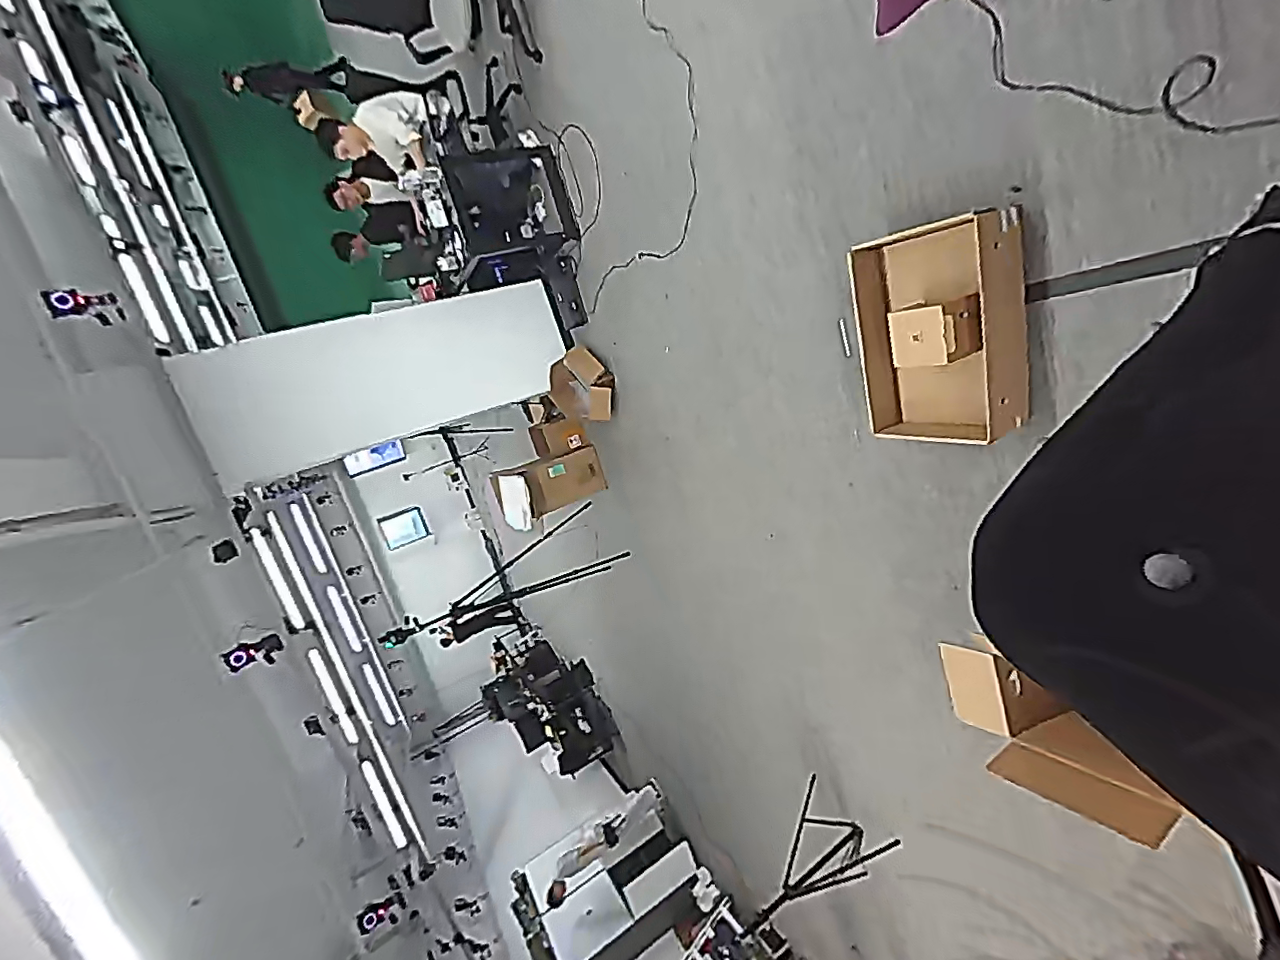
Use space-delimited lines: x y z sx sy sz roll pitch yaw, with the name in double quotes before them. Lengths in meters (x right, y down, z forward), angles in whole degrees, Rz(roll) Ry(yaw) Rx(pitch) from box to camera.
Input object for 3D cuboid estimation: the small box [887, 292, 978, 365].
"small box" 0.859 -0.440 1.580 0.179 0.176 0.168 16 124 60
